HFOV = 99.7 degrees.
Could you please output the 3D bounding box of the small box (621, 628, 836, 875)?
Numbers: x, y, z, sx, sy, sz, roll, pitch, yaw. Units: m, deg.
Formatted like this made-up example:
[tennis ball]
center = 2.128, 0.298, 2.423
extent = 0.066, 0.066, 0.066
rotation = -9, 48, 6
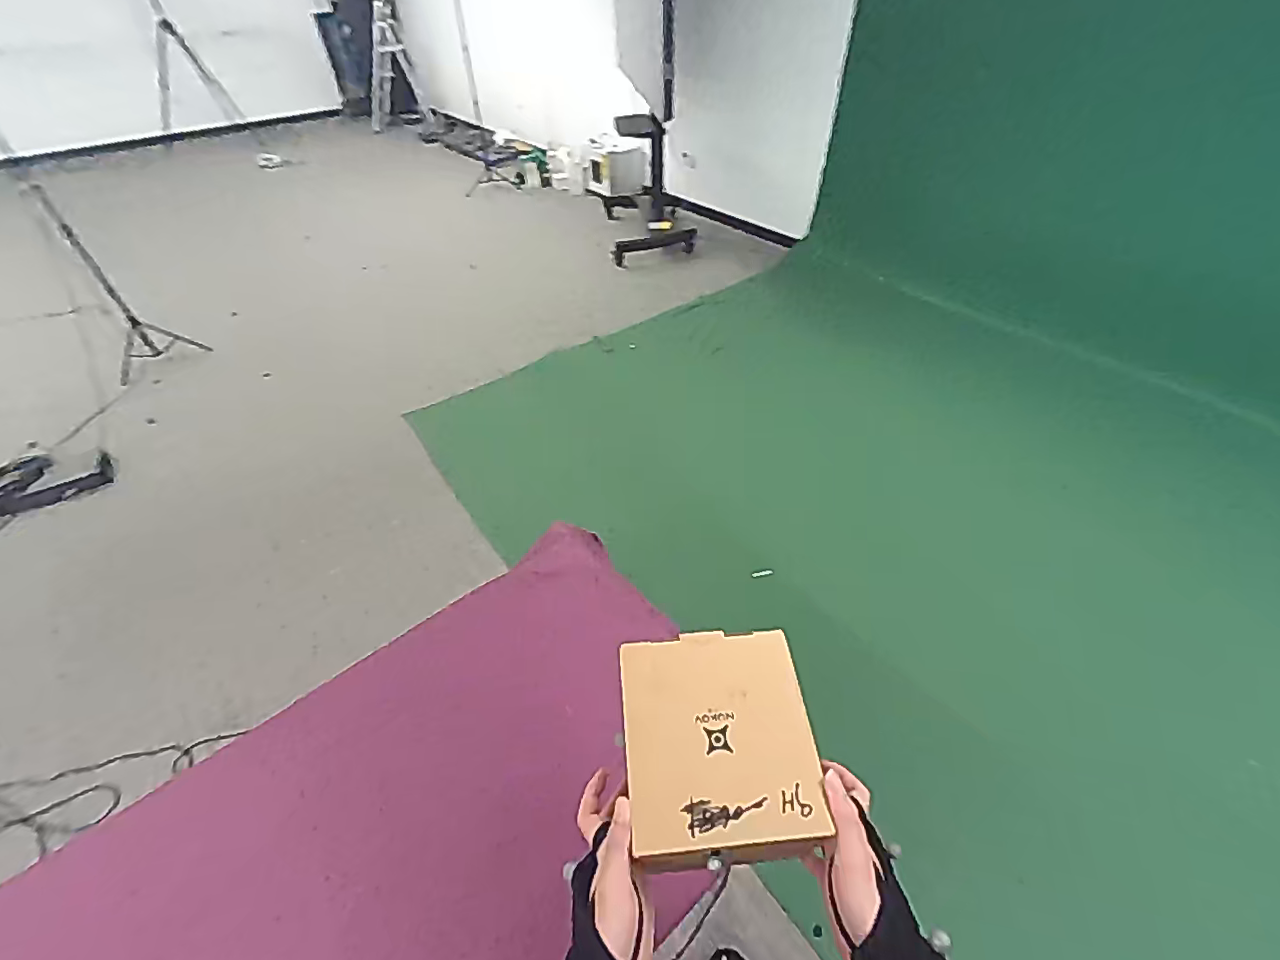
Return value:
[small box]
center = 0.068, 0.267, 0.530
extent = 0.168, 0.176, 0.179
rotation = -5, 50, -1
